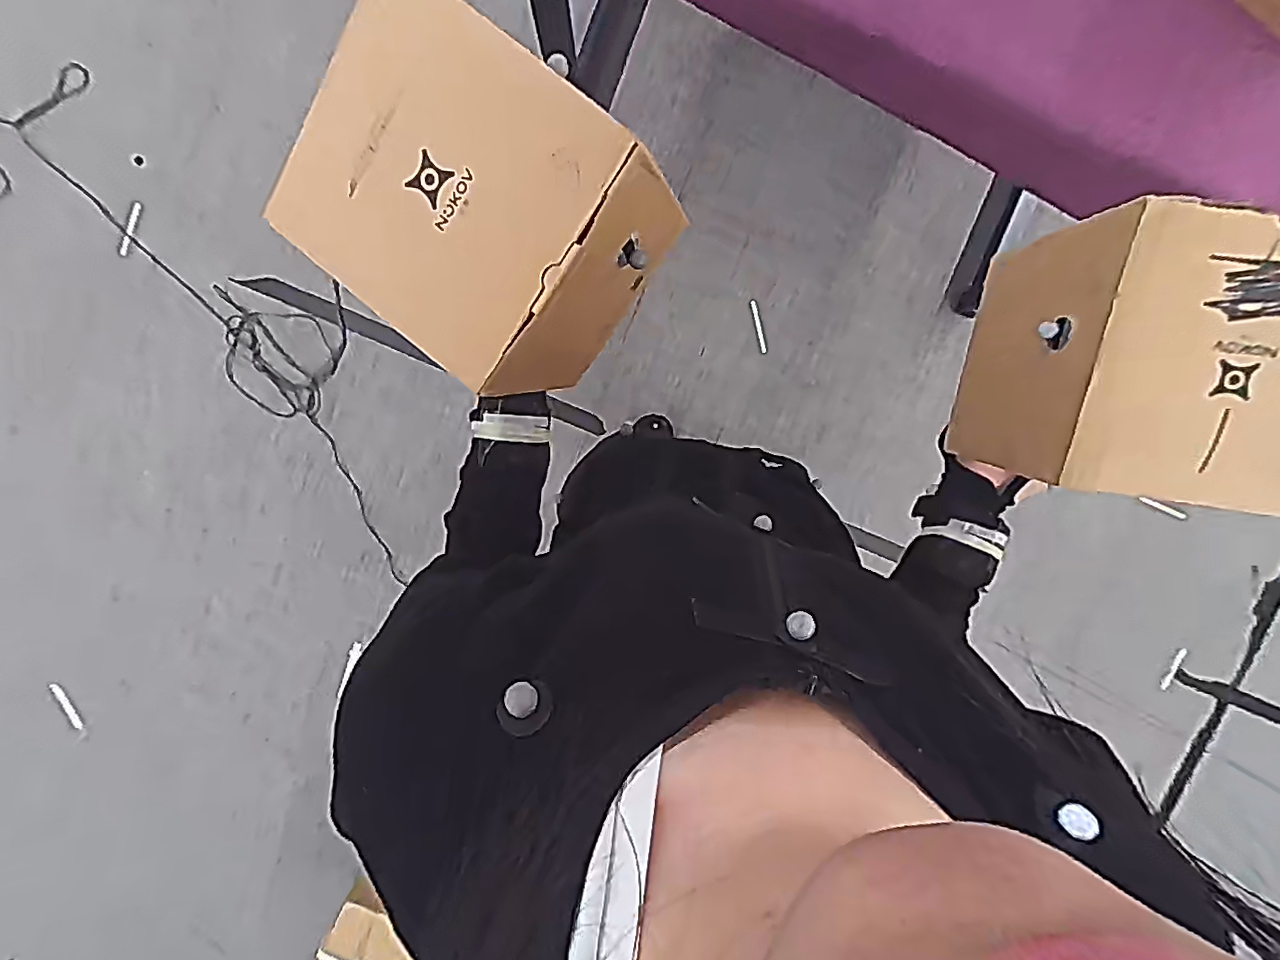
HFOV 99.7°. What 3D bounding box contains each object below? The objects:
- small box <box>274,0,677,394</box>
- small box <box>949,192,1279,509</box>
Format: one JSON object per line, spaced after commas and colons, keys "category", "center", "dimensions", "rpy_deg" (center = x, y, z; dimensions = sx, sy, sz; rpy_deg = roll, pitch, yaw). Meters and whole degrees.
{"category": "small box", "center": [-0.094, -0.181, 0.381], "dimensions": [0.179, 0.176, 0.168], "rpy_deg": [39, 107, 4]}
{"category": "small box", "center": [0.367, -0.089, 0.408], "dimensions": [0.168, 0.176, 0.179], "rpy_deg": [8, 102, 4]}
